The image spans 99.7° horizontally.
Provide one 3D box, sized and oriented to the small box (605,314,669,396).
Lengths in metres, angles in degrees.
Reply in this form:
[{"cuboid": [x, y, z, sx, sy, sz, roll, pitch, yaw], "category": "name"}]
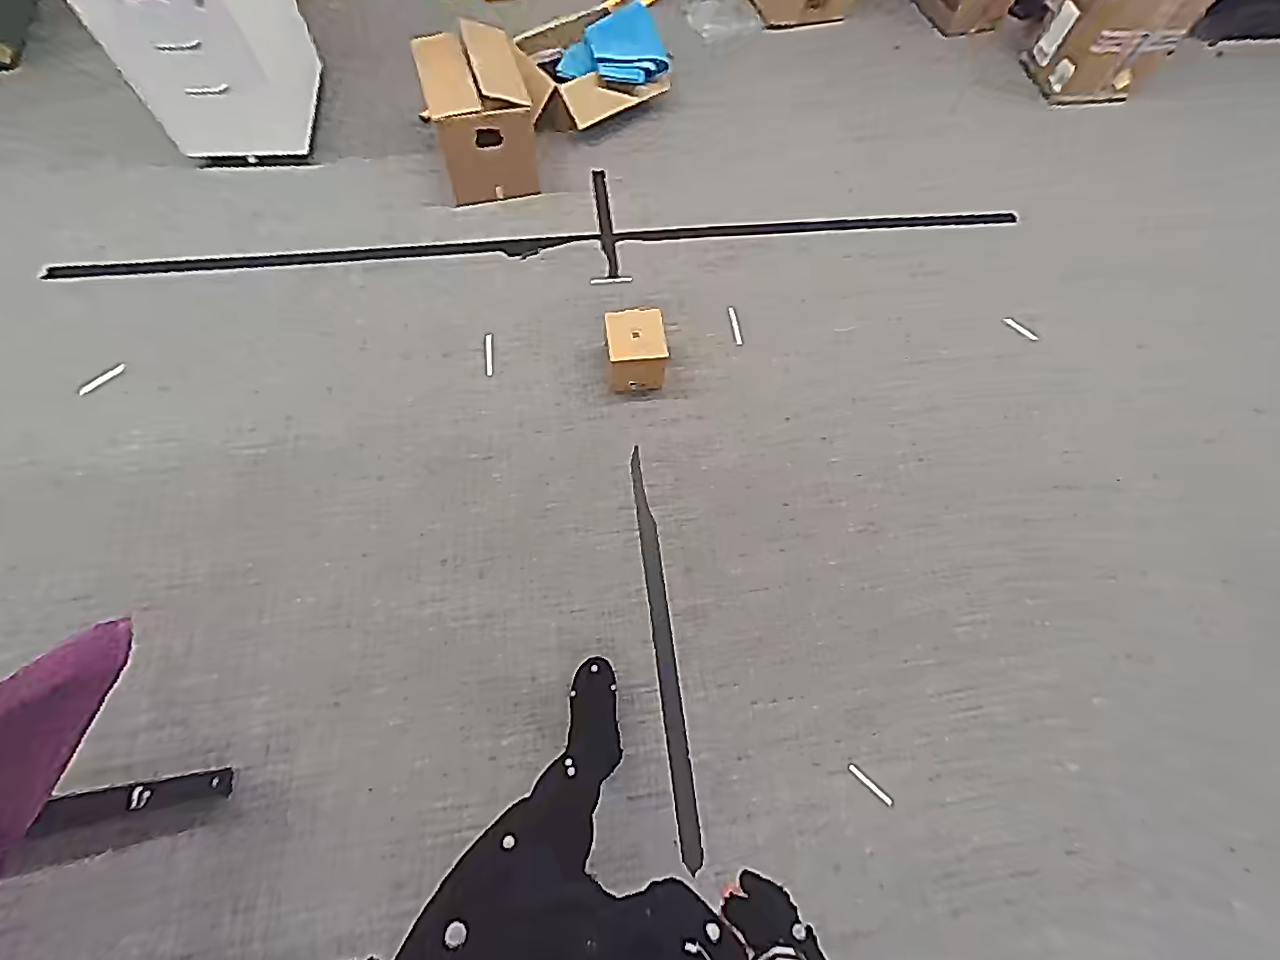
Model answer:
[{"cuboid": [-0.015, -0.374, 1.630, 0.168, 0.176, 0.179, -6, 68, -6], "category": "small box"}]
